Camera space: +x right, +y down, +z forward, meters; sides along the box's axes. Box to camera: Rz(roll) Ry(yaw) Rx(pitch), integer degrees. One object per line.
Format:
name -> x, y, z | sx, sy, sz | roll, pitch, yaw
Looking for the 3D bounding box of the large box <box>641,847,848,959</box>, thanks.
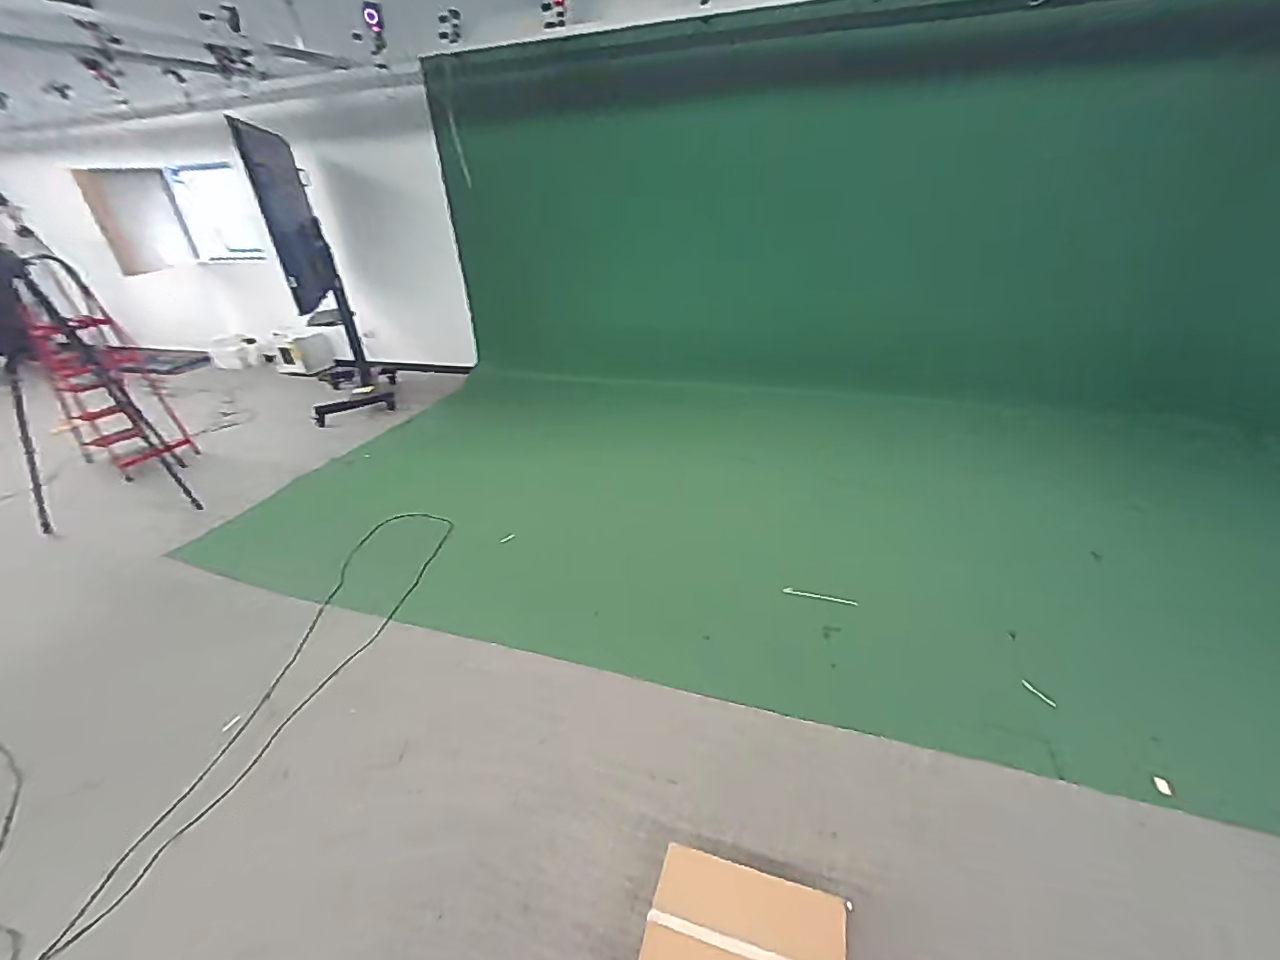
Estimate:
large box -> 0.218, 1.094, 1.175 | 0.408, 0.320, 0.320 | 7, 31, 18
